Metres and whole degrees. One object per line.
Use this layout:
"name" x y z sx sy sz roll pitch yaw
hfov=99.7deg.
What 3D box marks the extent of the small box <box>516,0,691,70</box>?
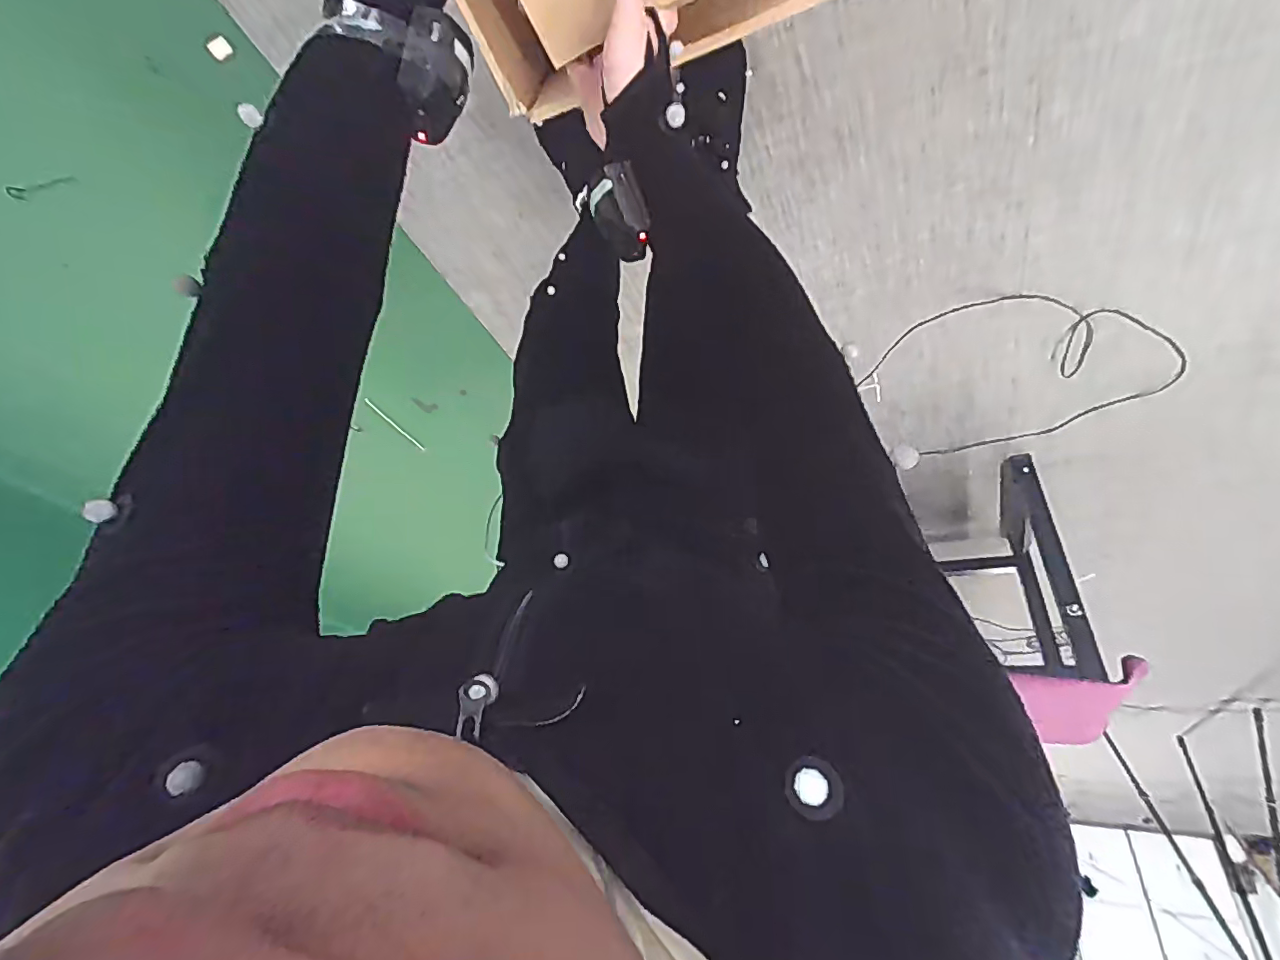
"small box" -0.038 -0.505 0.451 0.168 0.176 0.179 -11 144 22
